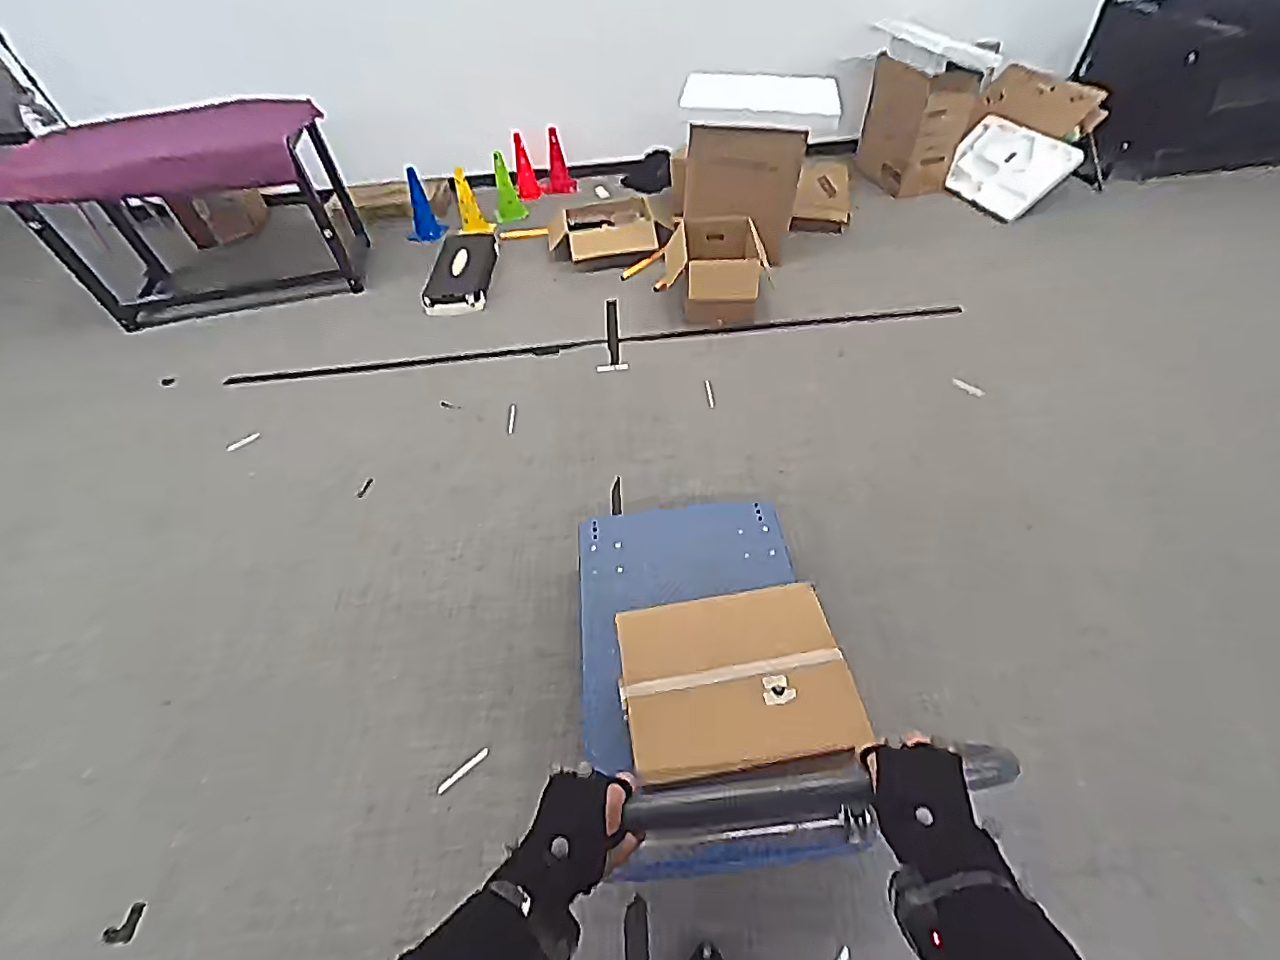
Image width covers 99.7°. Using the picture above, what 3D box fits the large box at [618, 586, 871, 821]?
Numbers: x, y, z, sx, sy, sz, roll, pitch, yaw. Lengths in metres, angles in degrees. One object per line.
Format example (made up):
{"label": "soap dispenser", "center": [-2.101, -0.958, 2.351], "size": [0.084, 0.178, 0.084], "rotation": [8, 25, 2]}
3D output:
{"label": "large box", "center": [0.181, 0.461, 1.112], "size": [0.408, 0.320, 0.320], "rotation": [-9, 50, -5]}
